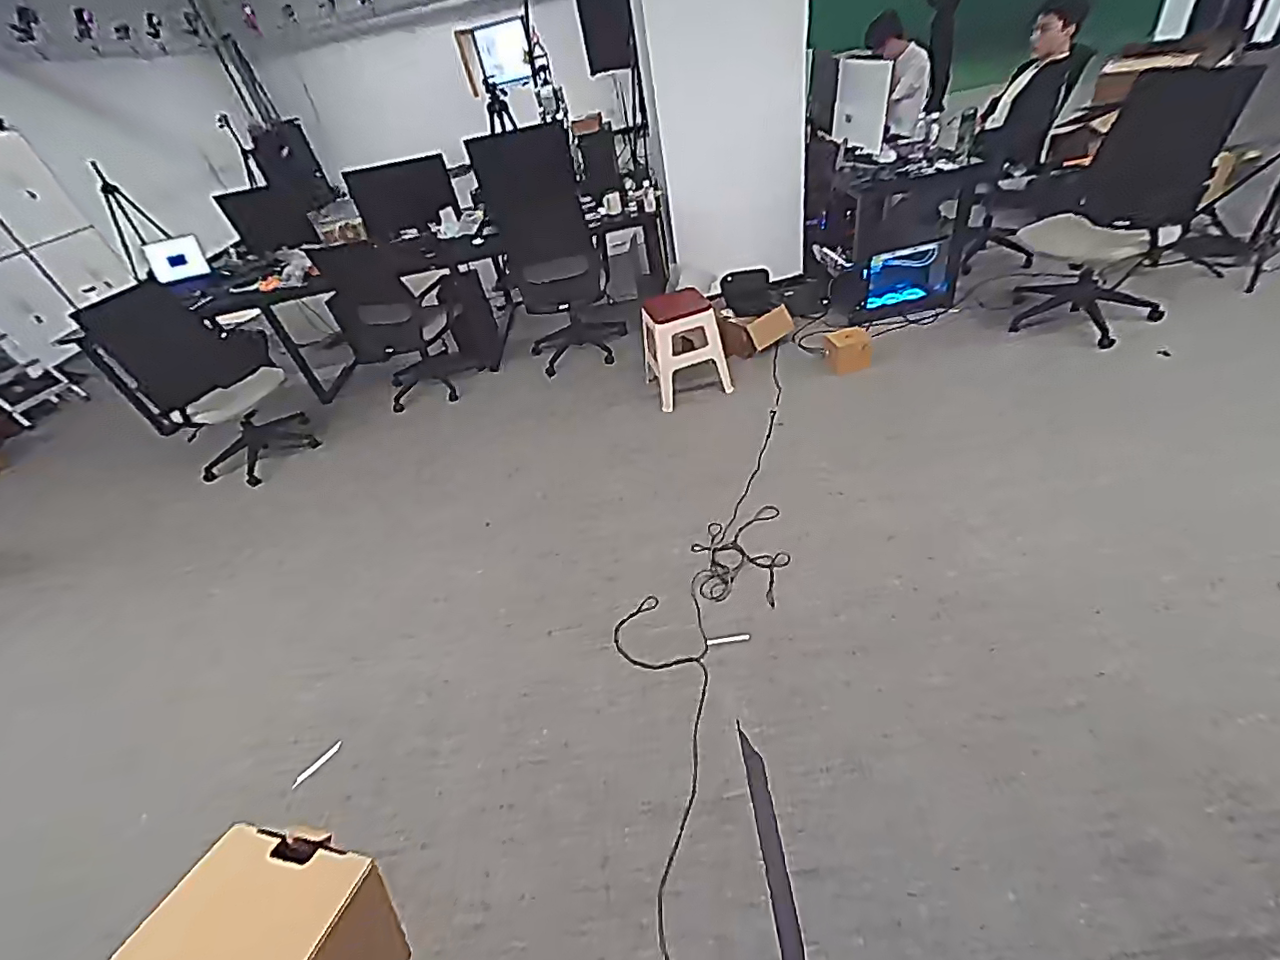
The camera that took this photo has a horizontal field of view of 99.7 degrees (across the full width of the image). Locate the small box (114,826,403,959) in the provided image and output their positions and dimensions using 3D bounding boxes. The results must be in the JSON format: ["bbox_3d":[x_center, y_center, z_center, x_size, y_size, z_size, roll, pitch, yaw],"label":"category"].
[{"bbox_3d":[-0.342,0.462,0.484,0.168,0.176,0.179,4,25,14],"label":"small box"}]
